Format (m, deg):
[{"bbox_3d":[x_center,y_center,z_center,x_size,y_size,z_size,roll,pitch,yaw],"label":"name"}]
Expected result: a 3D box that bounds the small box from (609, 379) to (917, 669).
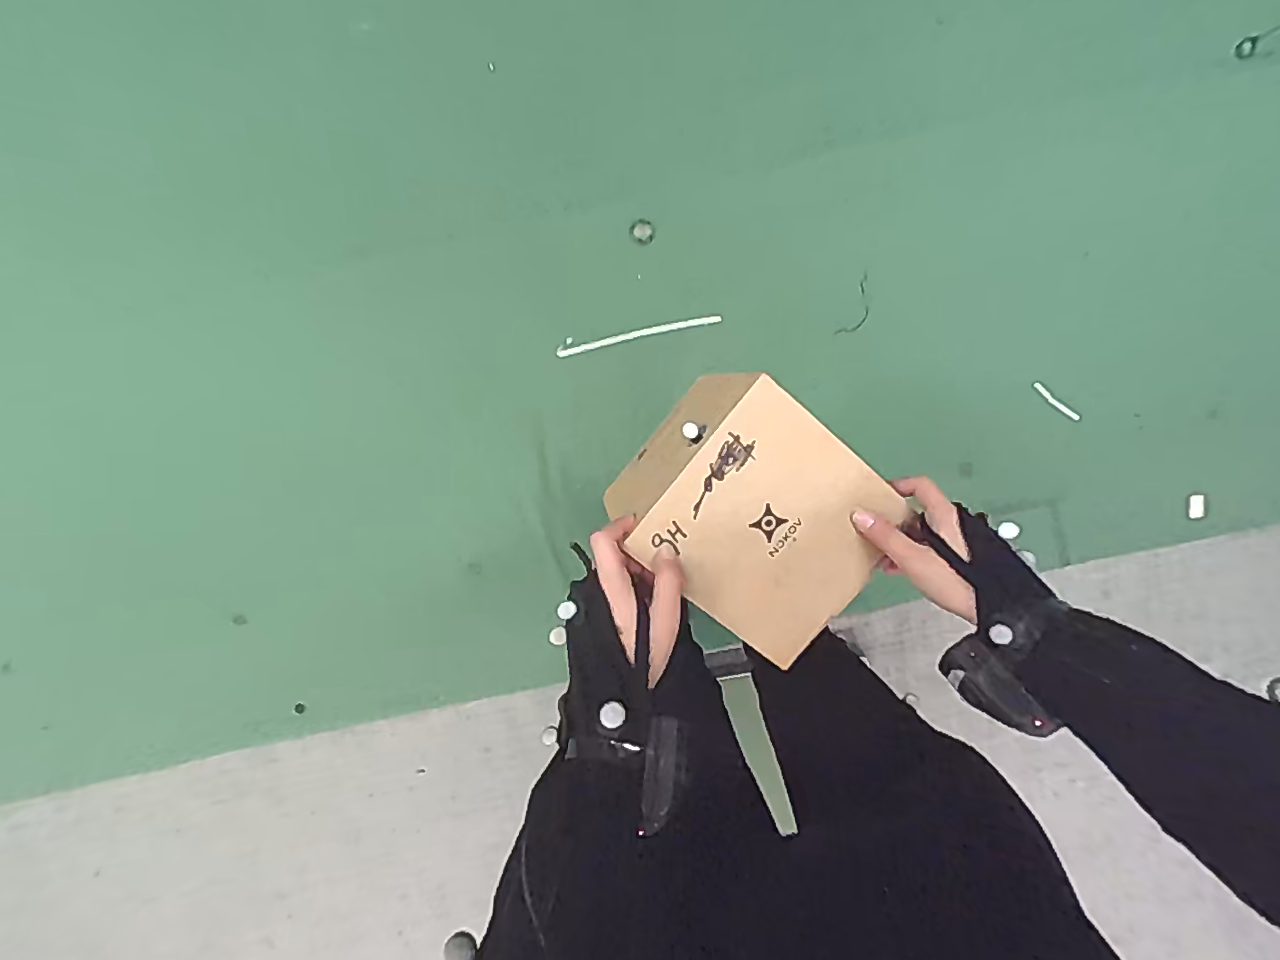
[{"bbox_3d":[0.091,0.023,0.484,0.179,0.176,0.168,39,92,-14],"label":"small box"}]
